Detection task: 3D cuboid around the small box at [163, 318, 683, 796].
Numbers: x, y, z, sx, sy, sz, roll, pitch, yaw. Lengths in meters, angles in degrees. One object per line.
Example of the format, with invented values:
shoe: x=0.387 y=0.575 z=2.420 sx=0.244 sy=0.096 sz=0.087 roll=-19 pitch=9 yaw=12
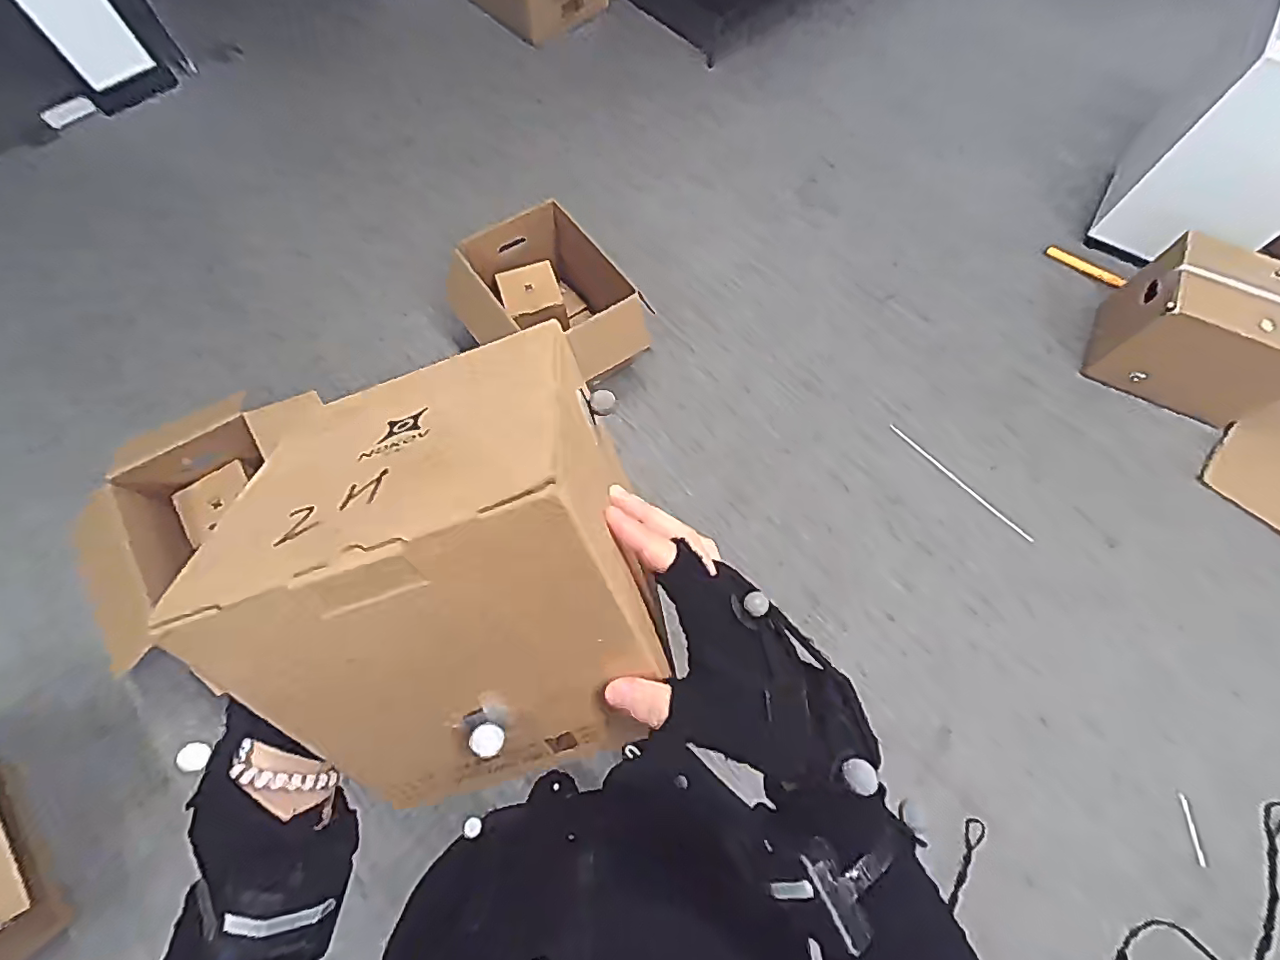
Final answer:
small box: x=-0.086 y=0.038 z=0.306 sx=0.168 sy=0.176 sz=0.179 roll=-19 pitch=35 yaw=5
